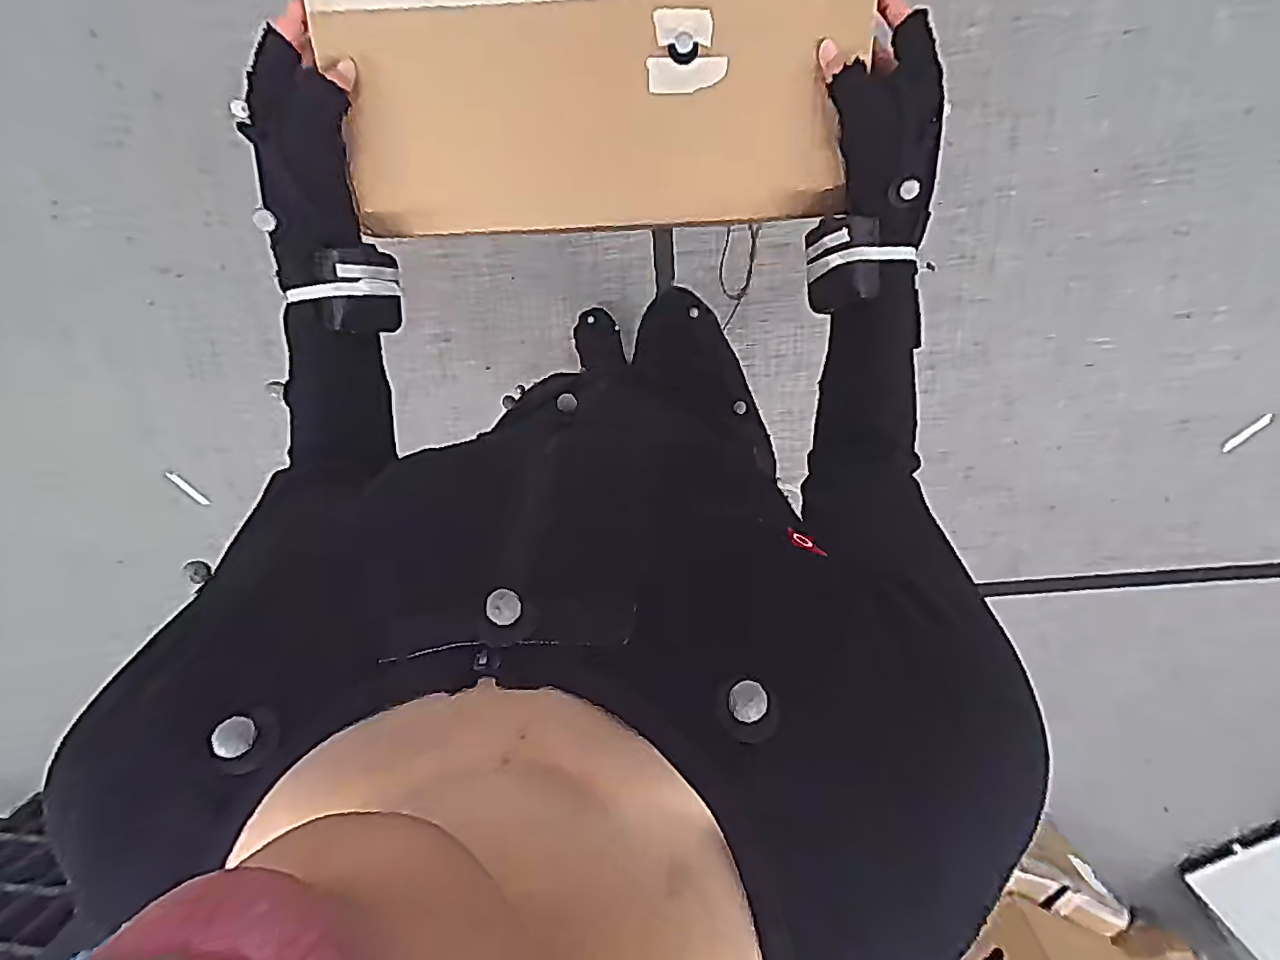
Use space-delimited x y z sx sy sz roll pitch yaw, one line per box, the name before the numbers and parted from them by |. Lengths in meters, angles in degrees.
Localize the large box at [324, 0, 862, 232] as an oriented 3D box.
large box | -0.038 -0.424 0.527 0.408 0.320 0.320 -2 115 0
